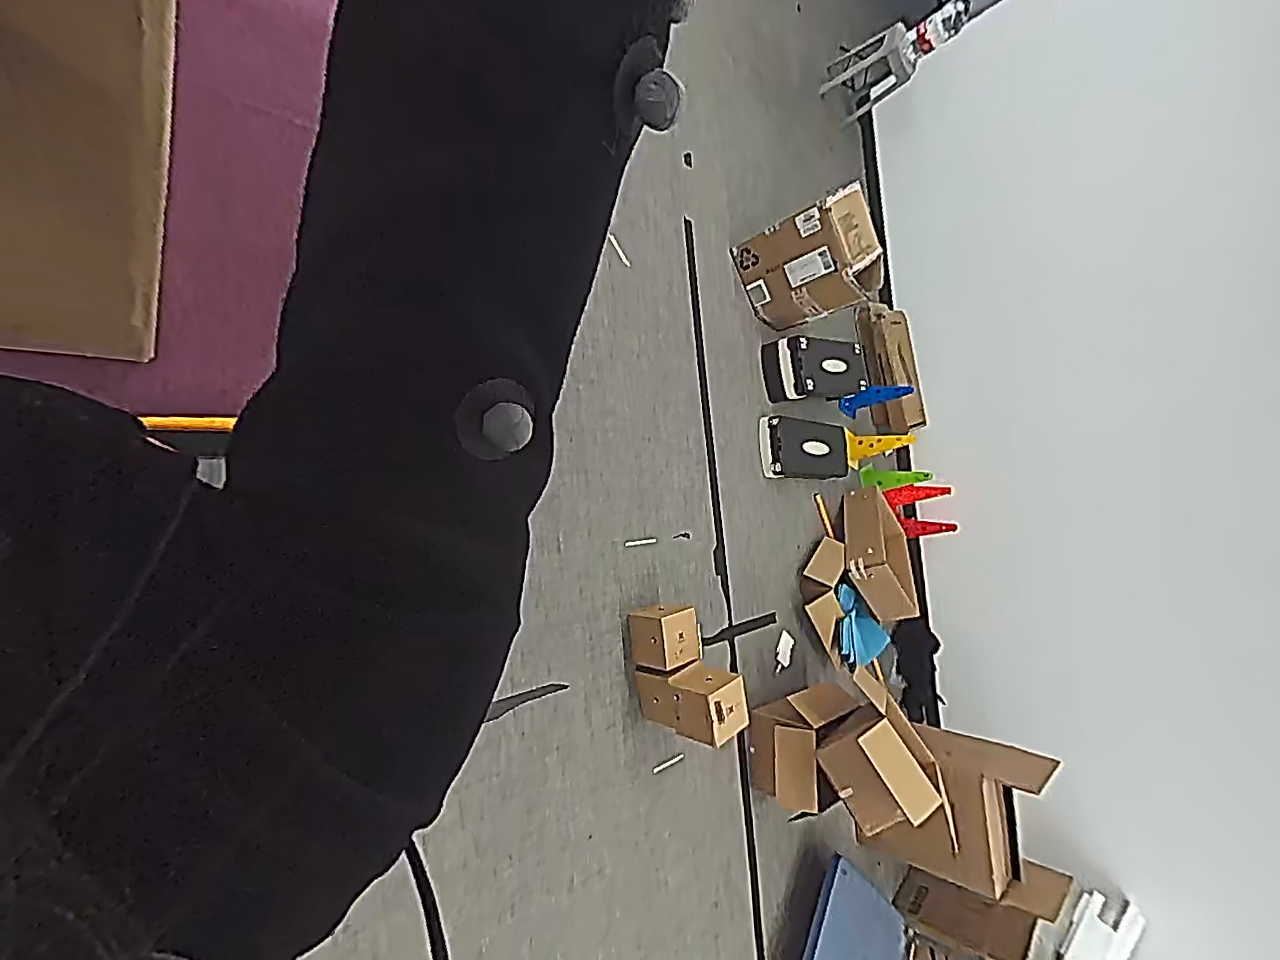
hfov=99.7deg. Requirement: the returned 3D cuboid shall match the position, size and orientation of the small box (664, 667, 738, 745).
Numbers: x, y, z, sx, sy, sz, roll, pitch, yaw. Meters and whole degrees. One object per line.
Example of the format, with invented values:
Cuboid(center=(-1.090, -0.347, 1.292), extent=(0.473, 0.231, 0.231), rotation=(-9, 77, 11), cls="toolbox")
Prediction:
Cuboid(center=(0.191, 0.725, 1.752), extent=(0.179, 0.176, 0.168), rotation=(-10, 92, -44), cls="small box")
